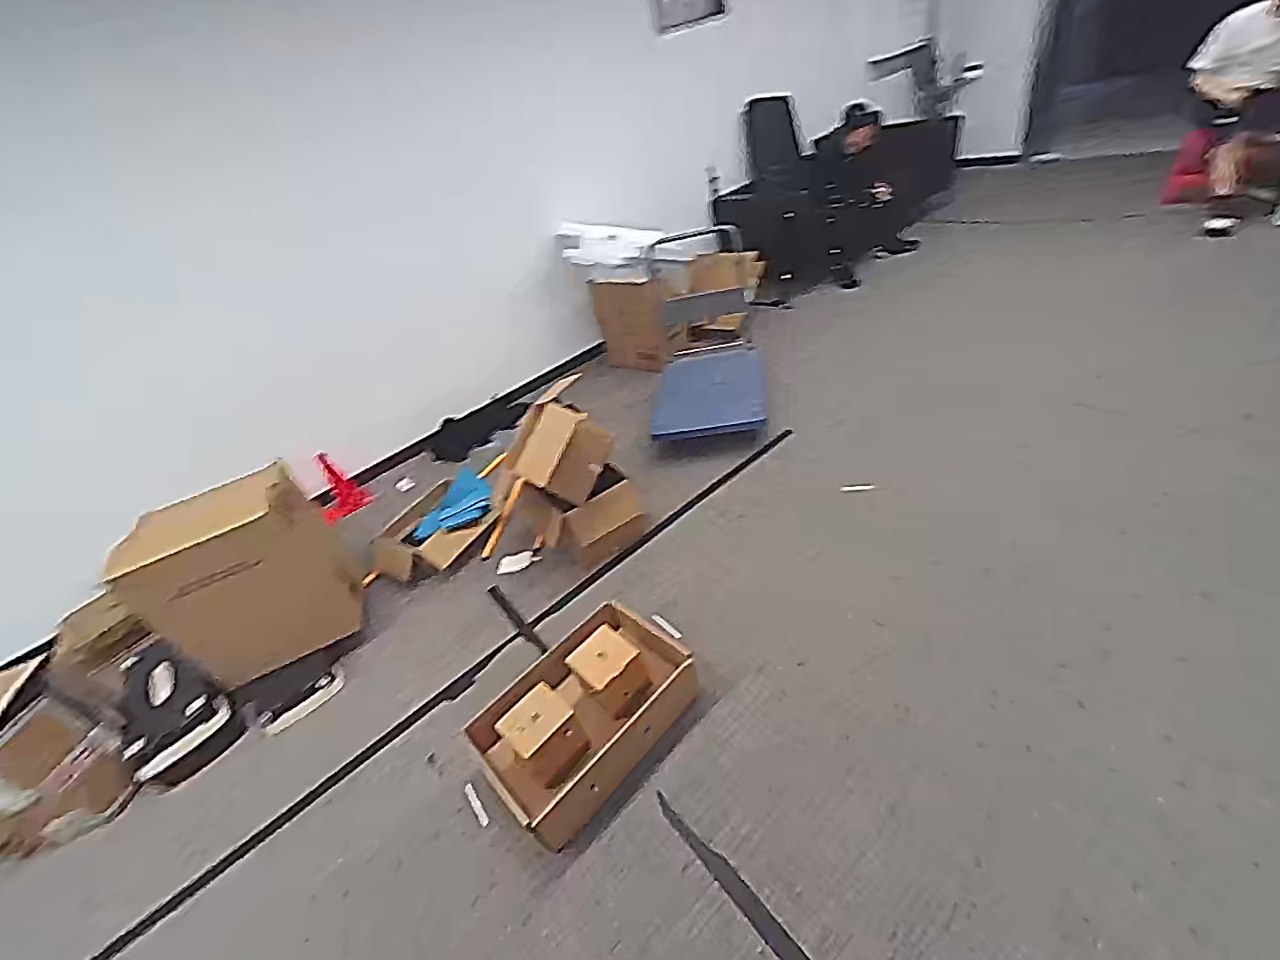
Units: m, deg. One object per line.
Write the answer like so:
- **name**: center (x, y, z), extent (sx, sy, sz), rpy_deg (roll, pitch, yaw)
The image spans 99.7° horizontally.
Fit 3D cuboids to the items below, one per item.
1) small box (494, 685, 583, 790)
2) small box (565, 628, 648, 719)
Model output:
- **small box**: center (-0.284, 0.746, 1.569), extent (0.168, 0.176, 0.179), rpy_deg (20, 48, 43)
- **small box**: center (-0.103, 0.606, 1.690), extent (0.168, 0.176, 0.179), rpy_deg (-39, 40, -27)
